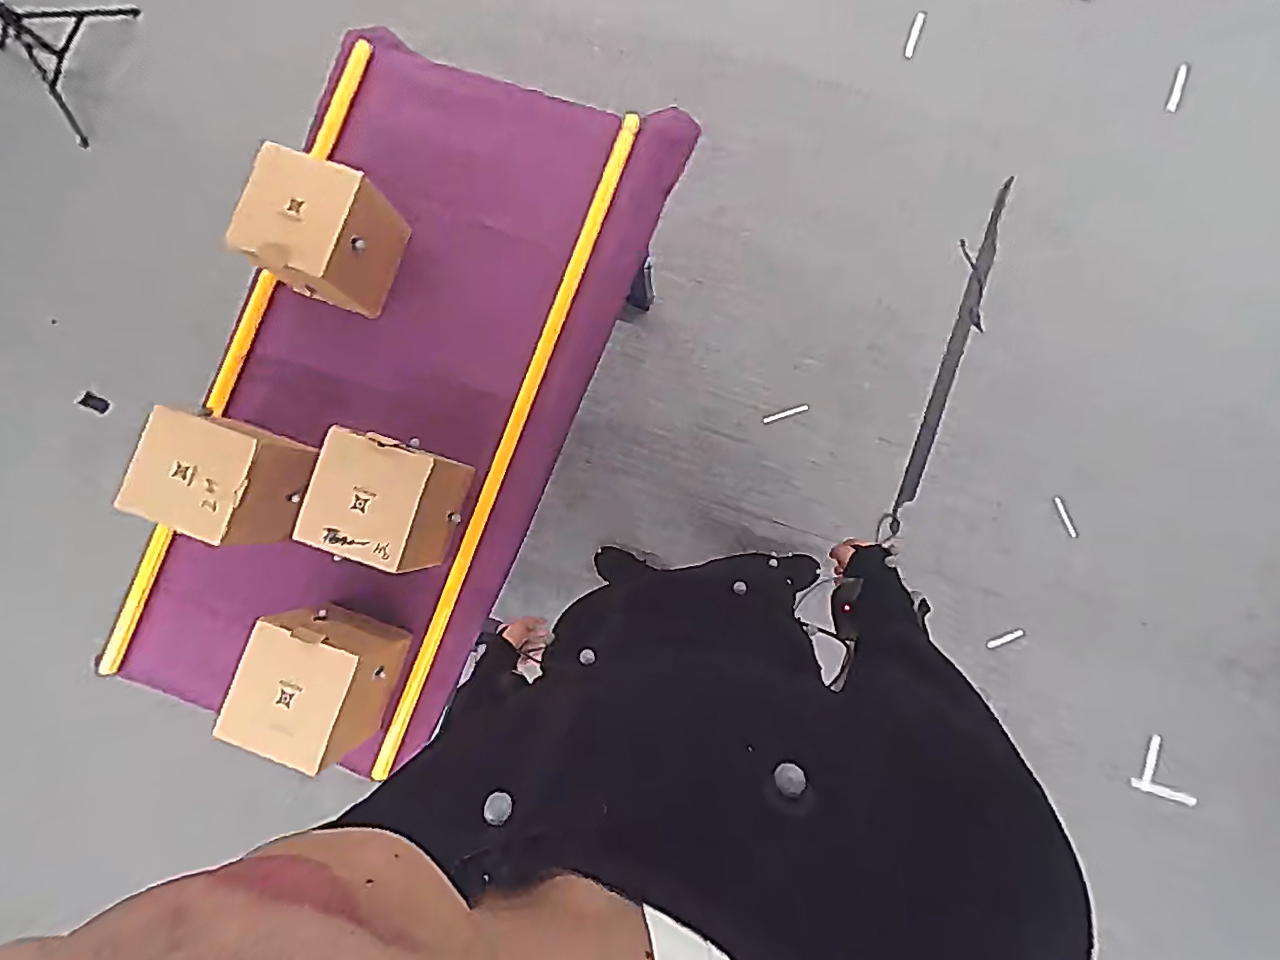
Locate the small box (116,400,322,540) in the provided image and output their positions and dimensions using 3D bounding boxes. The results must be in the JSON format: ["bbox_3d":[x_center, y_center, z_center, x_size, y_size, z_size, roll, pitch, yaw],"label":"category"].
[{"bbox_3d":[-0.662,-0.010,0.874,0.179,0.176,0.168,20,88,3],"label":"small box"}]

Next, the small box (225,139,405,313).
[{"bbox_3d":[-0.520,-0.407,0.895,0.168,0.176,0.179,20,88,3],"label":"small box"}]

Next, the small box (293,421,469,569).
[{"bbox_3d":[-0.393,0.026,0.857,0.168,0.176,0.179,18,87,5],"label":"small box"}]

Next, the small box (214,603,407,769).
[{"bbox_3d":[-0.494,0.304,0.842,0.168,0.176,0.179,18,85,5],"label":"small box"}]
